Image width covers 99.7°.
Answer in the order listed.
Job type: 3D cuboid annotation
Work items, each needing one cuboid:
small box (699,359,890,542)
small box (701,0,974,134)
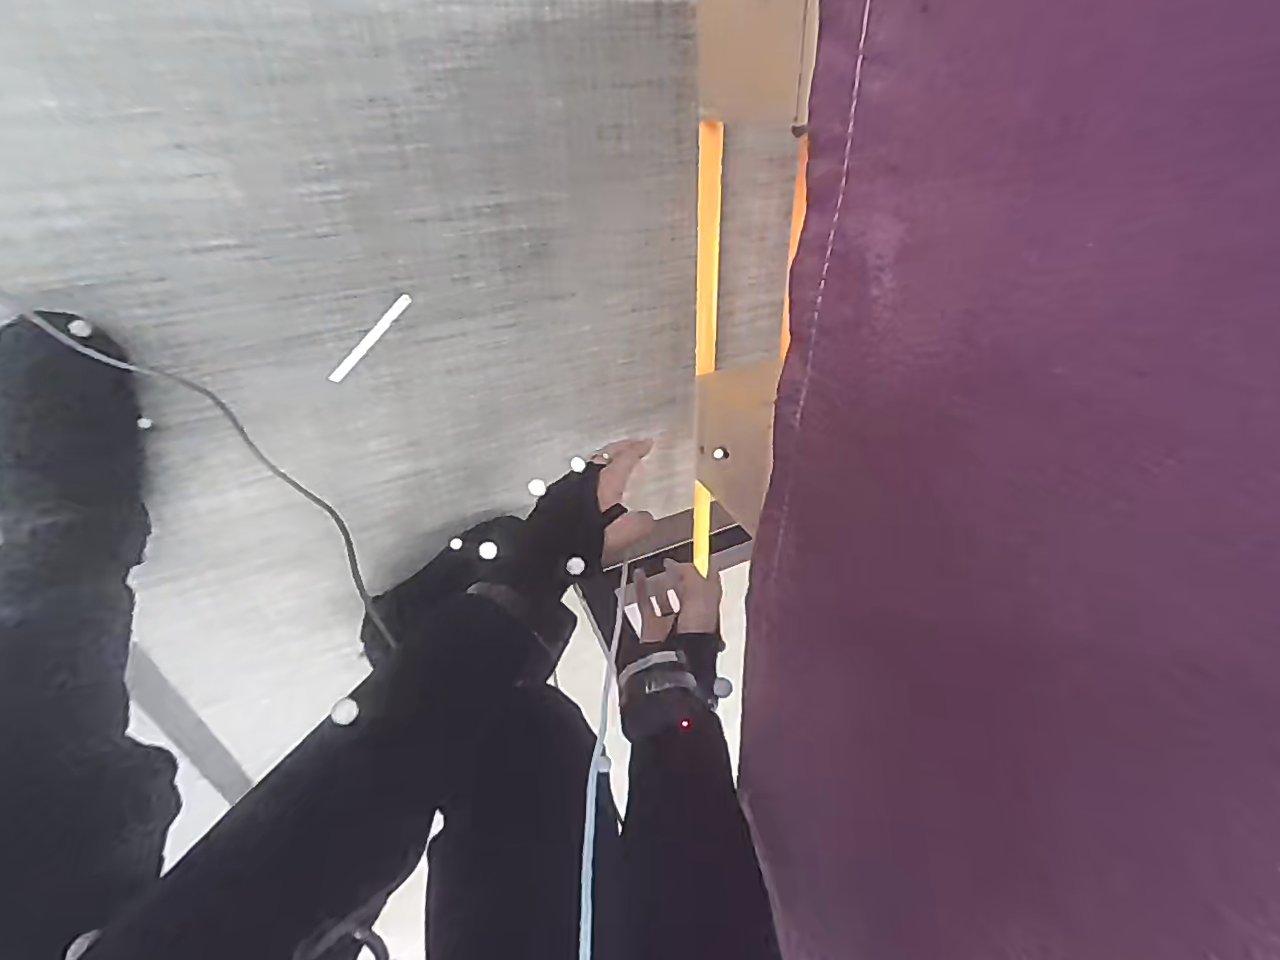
[{"bbox_3d":[0.191,-0.048,0.723,0.179,0.176,0.168,-15,126,-18],"label":"small box"},{"bbox_3d":[0.163,-0.416,0.472,0.168,0.176,0.179,-17,127,-16],"label":"small box"}]
